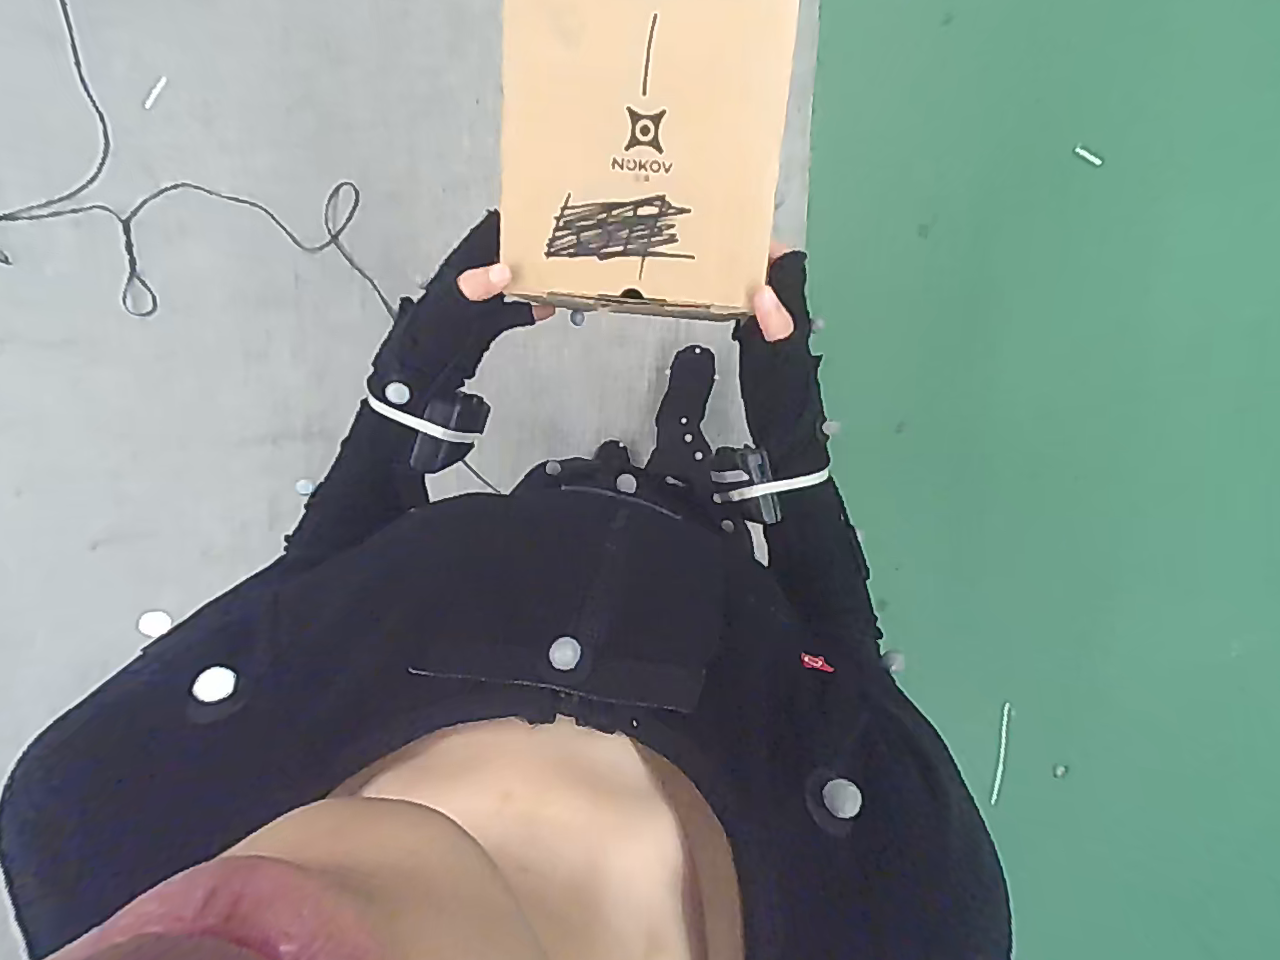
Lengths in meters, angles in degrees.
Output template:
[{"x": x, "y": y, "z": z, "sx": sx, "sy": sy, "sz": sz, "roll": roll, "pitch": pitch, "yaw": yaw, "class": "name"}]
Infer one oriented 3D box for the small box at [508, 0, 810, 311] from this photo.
[{"x": 0.008, "y": -0.221, "z": 0.391, "sx": 0.168, "sy": 0.176, "sz": 0.179, "roll": 5, "pitch": 104, "yaw": -1, "class": "small box"}]
